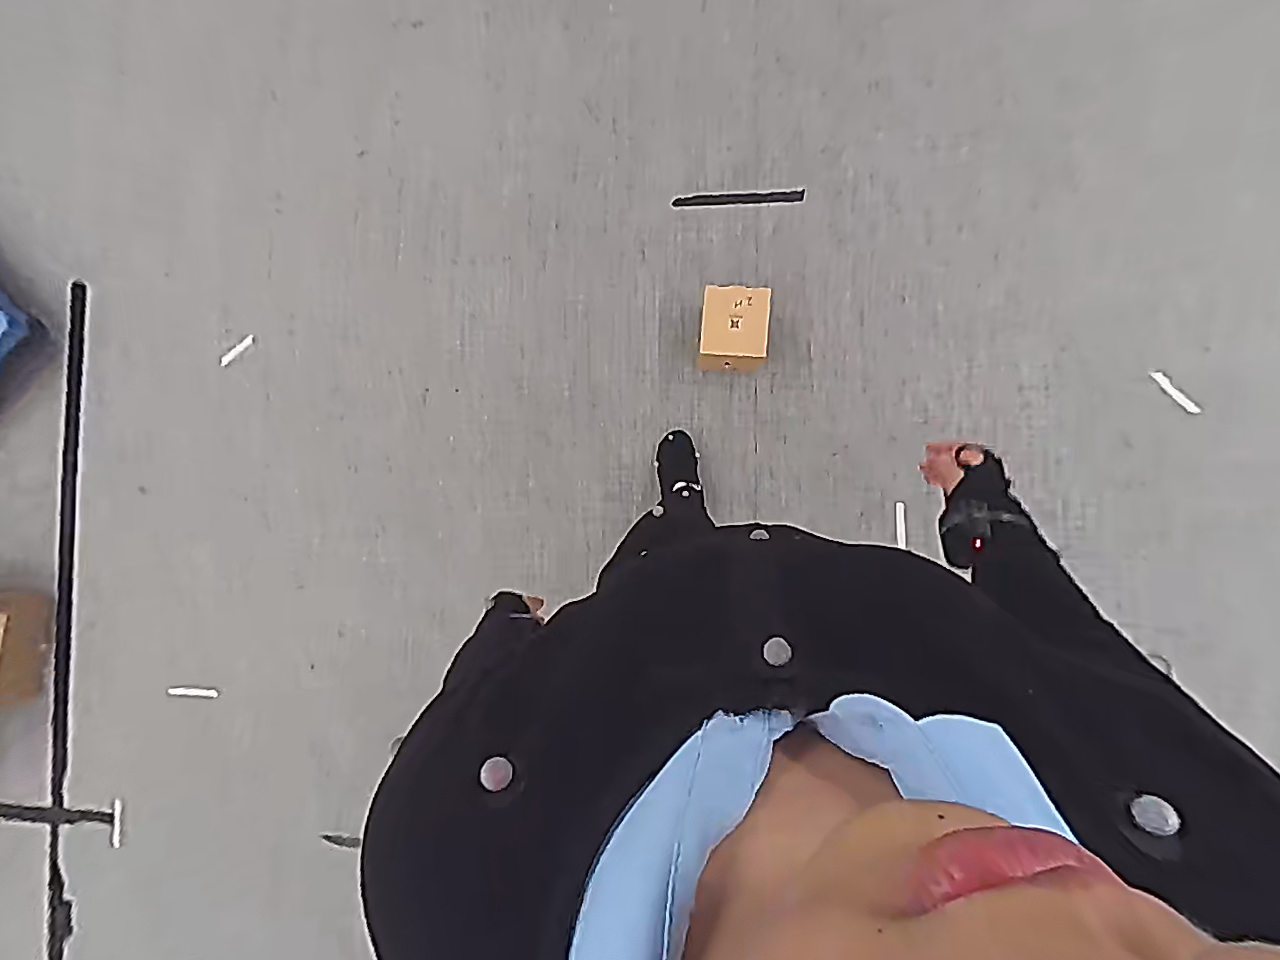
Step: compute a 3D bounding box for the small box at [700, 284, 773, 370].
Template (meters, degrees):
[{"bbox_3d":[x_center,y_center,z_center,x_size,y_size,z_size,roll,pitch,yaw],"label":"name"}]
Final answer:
[{"bbox_3d":[0.246,-0.392,1.415,0.168,0.176,0.179,4,89,4],"label":"small box"}]
